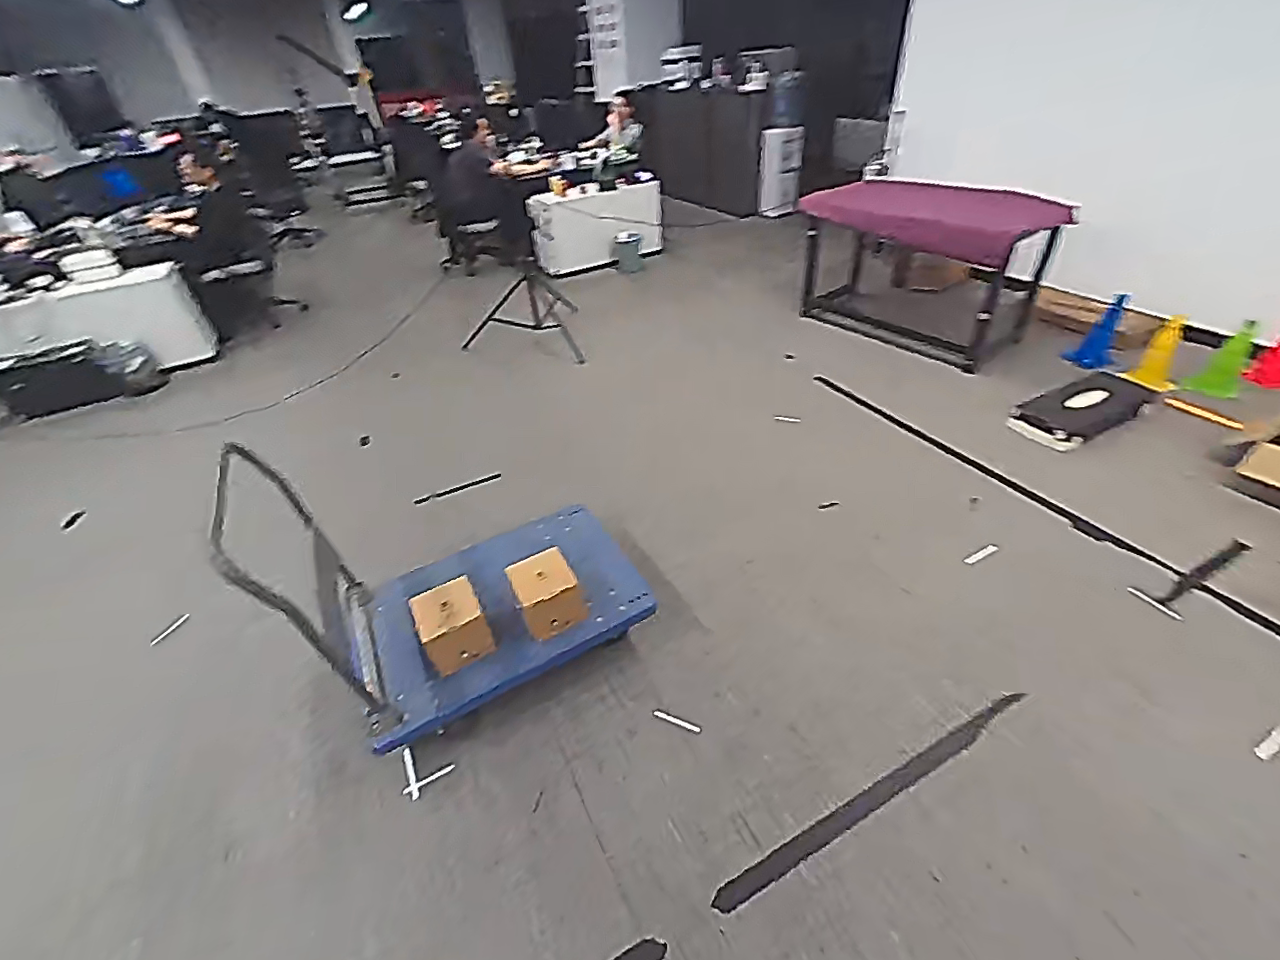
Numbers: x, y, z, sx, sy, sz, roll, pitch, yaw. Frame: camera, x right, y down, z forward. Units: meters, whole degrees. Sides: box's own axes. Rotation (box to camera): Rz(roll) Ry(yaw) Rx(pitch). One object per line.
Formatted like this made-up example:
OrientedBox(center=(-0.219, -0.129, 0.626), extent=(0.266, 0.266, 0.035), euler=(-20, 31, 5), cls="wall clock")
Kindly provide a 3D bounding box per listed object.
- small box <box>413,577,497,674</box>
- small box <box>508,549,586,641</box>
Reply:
OrientedBox(center=(-0.531, 0.419, 1.555), extent=(0.168, 0.176, 0.179), euler=(-23, 42, -20), cls="small box")
OrientedBox(center=(-0.277, 0.344, 1.620), extent=(0.168, 0.176, 0.179), euler=(-22, 42, -20), cls="small box")
